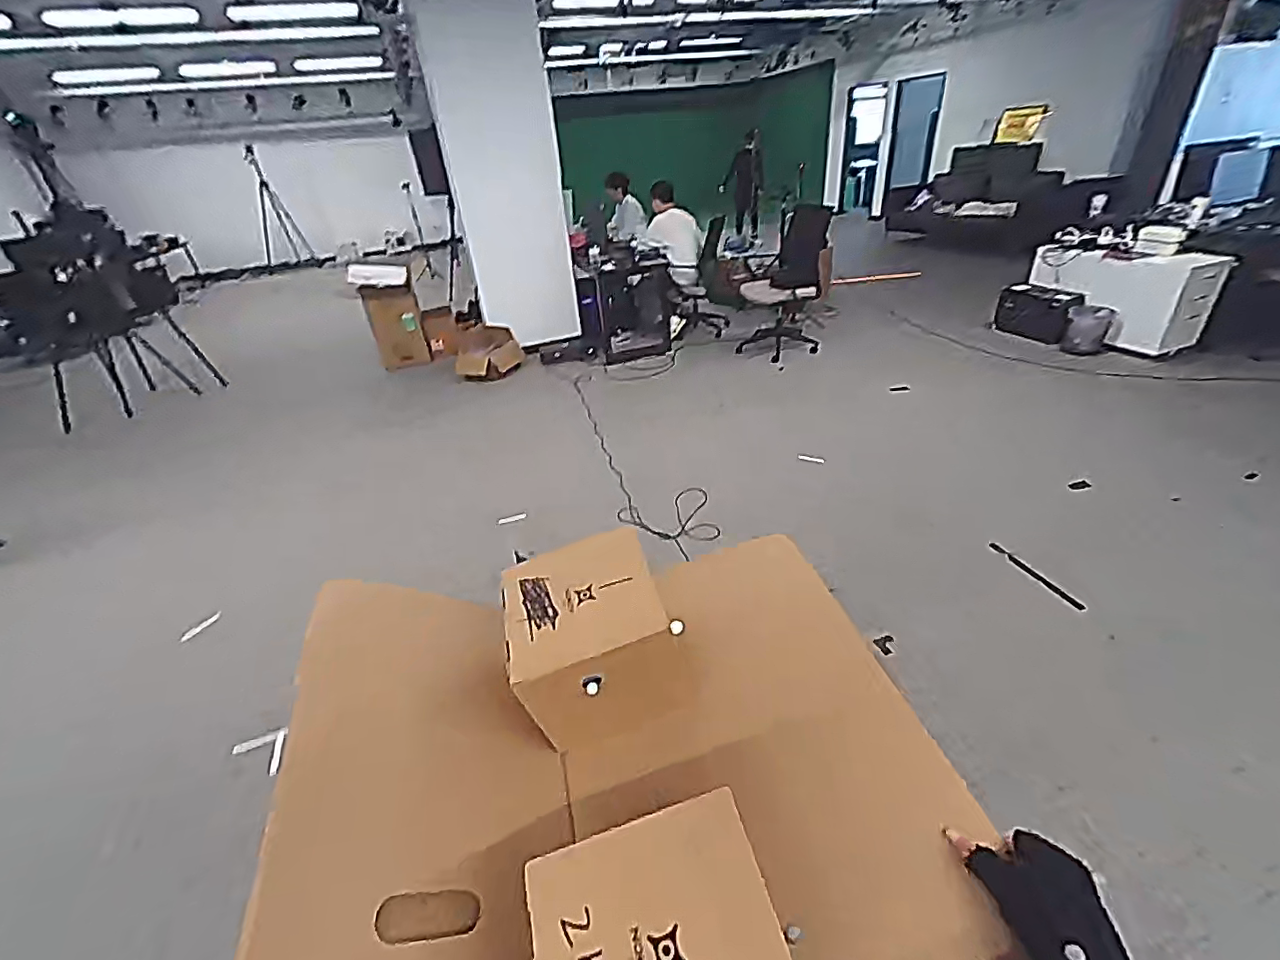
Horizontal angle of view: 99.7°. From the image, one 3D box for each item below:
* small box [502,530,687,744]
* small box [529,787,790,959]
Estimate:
[{"bbox_3d":[-0.056,0.198,0.678,0.179,0.176,0.168,-19,40,-4],"label":"small box"},{"bbox_3d":[0.026,0.387,0.437,0.179,0.176,0.168,-19,40,-3],"label":"small box"}]
